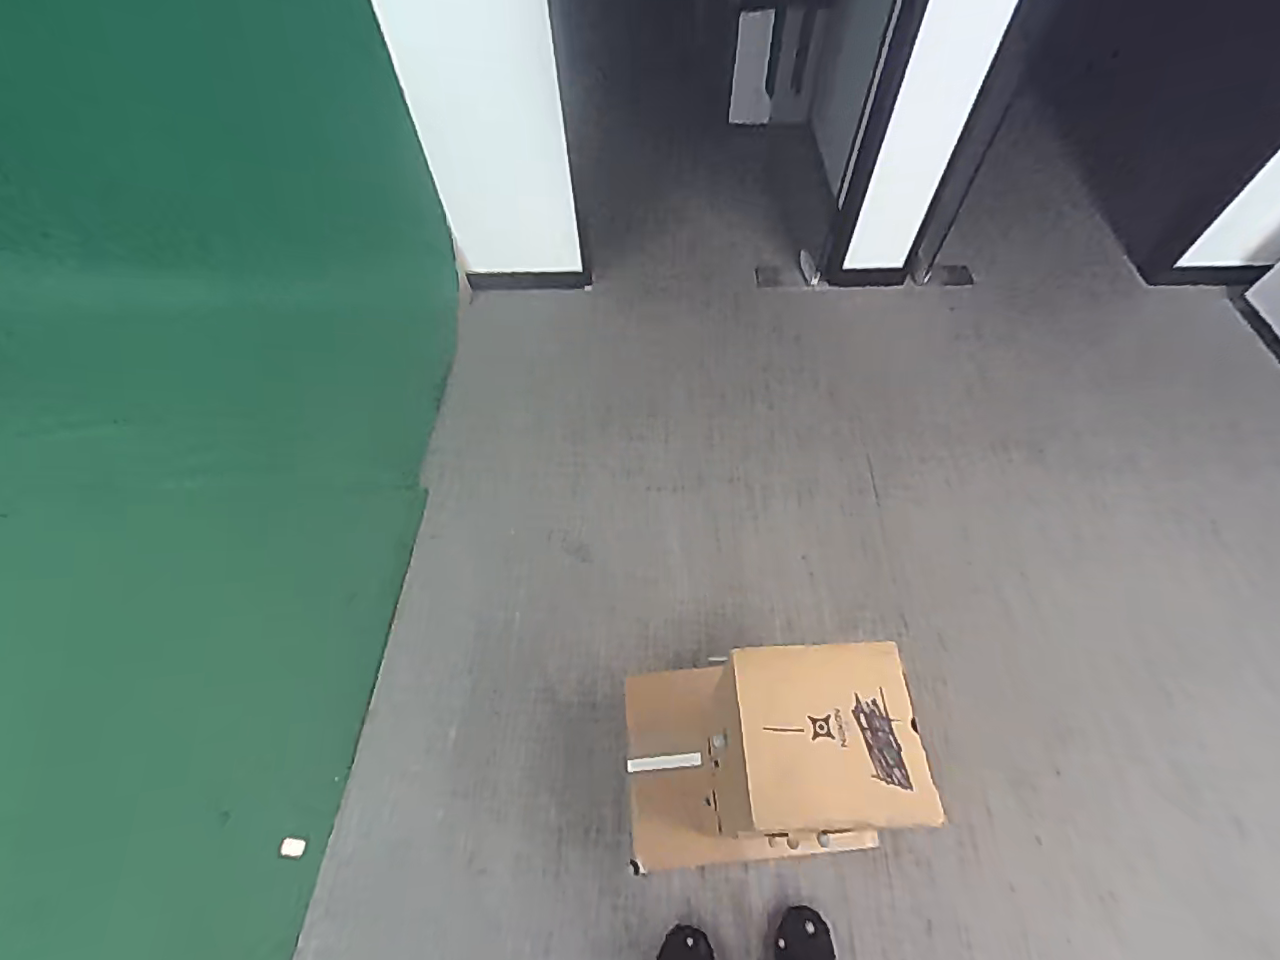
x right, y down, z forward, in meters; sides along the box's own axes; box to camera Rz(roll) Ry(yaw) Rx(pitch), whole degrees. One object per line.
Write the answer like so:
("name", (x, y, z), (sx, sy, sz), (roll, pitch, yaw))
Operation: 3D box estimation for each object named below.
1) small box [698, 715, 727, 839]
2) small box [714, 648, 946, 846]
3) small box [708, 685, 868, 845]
("small box", (0.188, 0.474, 0.865), (0.179, 0.176, 0.168), (-3, 58, -1))
("small box", (0.186, 0.292, 0.592), (0.179, 0.176, 0.168), (-4, 58, -2))
("small box", (0.185, 0.380, 0.731), (0.168, 0.176, 0.179), (-3, 58, 0))
